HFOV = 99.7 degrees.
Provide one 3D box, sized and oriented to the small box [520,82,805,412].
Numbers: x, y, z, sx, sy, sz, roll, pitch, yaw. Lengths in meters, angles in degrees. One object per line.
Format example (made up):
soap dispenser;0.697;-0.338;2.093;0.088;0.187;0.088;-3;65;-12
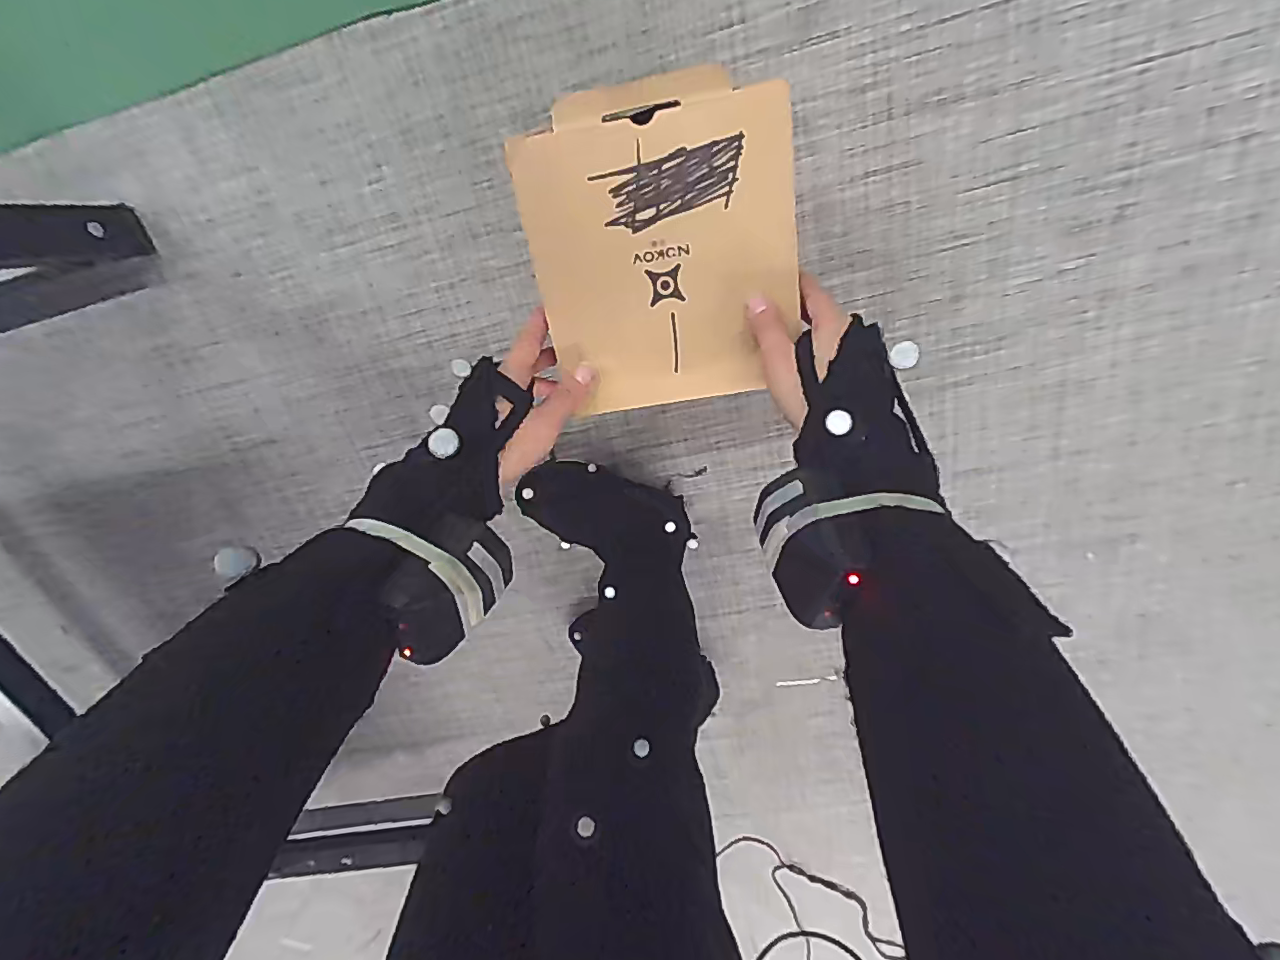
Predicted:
small box;0.024;-0.169;0.416;0.168;0.176;0.179;-7;116;7
